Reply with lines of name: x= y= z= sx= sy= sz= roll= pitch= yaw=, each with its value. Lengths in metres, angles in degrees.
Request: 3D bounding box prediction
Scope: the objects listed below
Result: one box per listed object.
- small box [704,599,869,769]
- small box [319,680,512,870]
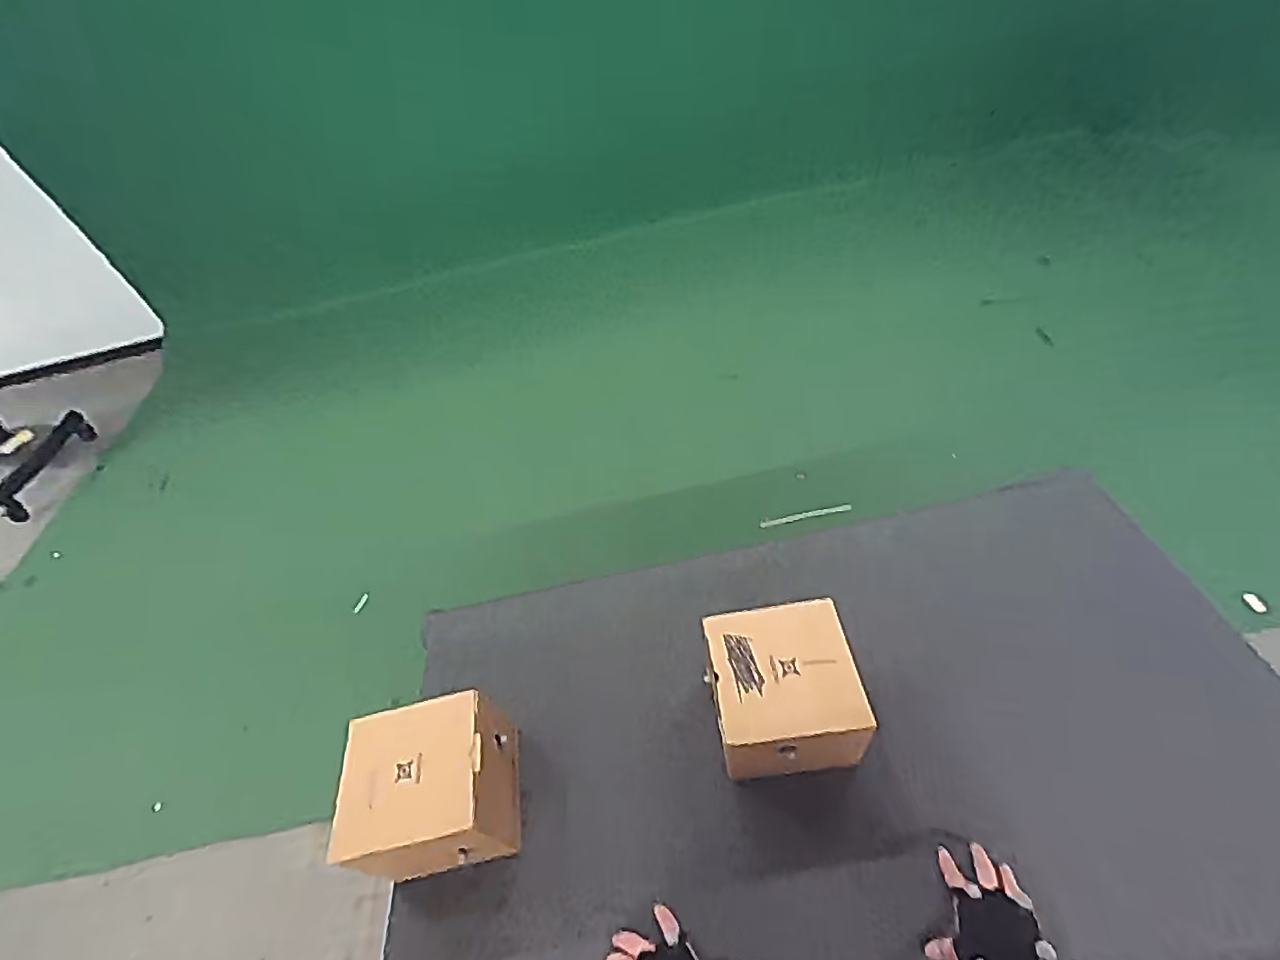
small box: x=0.187 y=0.279 z=0.727 sx=0.179 sy=0.176 sz=0.168 roll=-7 pitch=50 yaw=6
small box: x=-0.276 y=0.392 z=0.716 sx=0.179 sy=0.176 sz=0.168 roll=-15 pitch=47 yaw=1
